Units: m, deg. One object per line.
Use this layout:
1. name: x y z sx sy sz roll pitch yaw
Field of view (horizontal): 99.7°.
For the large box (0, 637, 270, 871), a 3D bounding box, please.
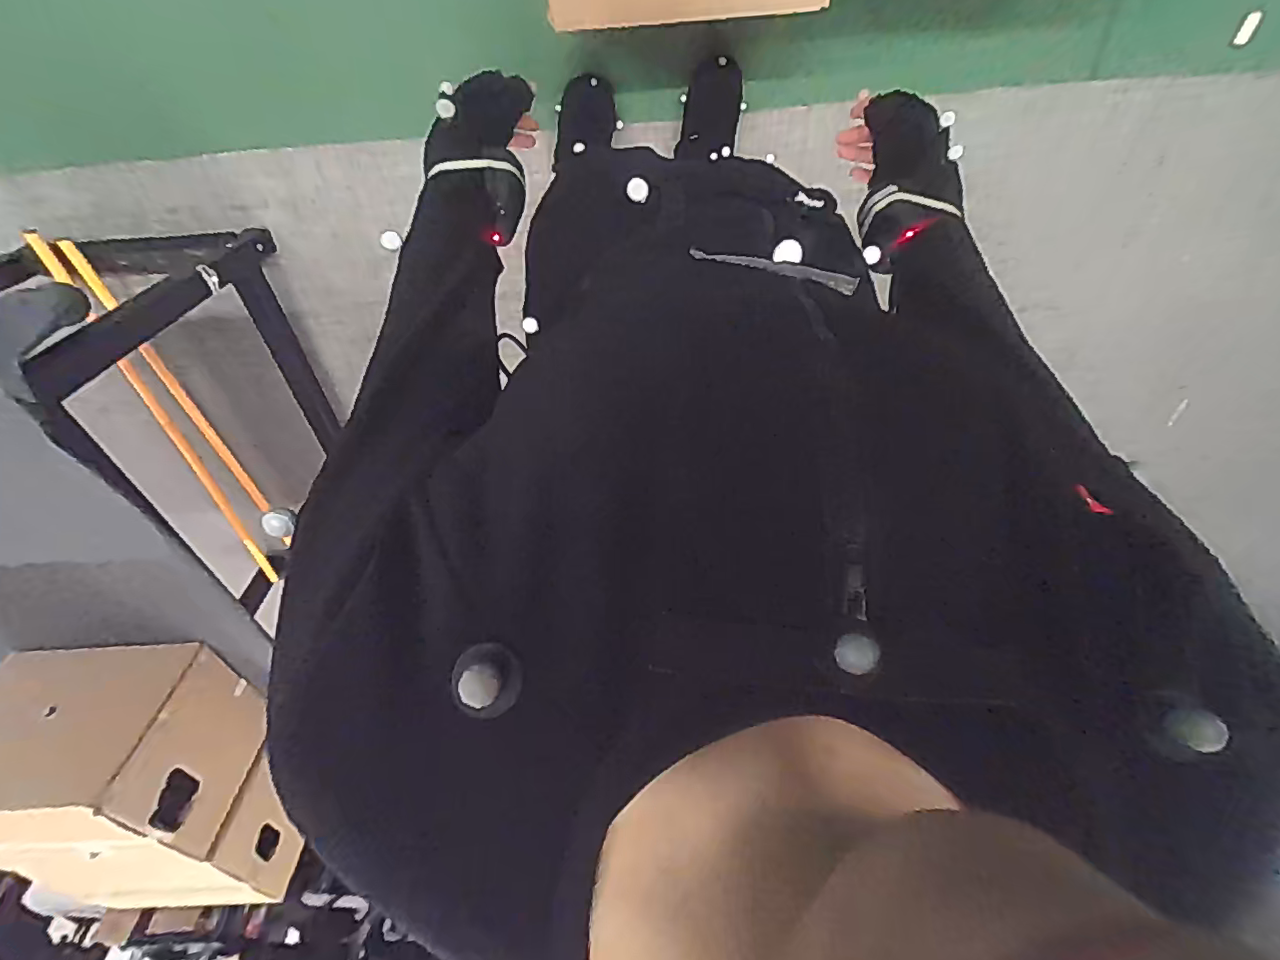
1. large box: -1.073 0.540 1.074 0.408 0.320 0.320 -4 131 1
